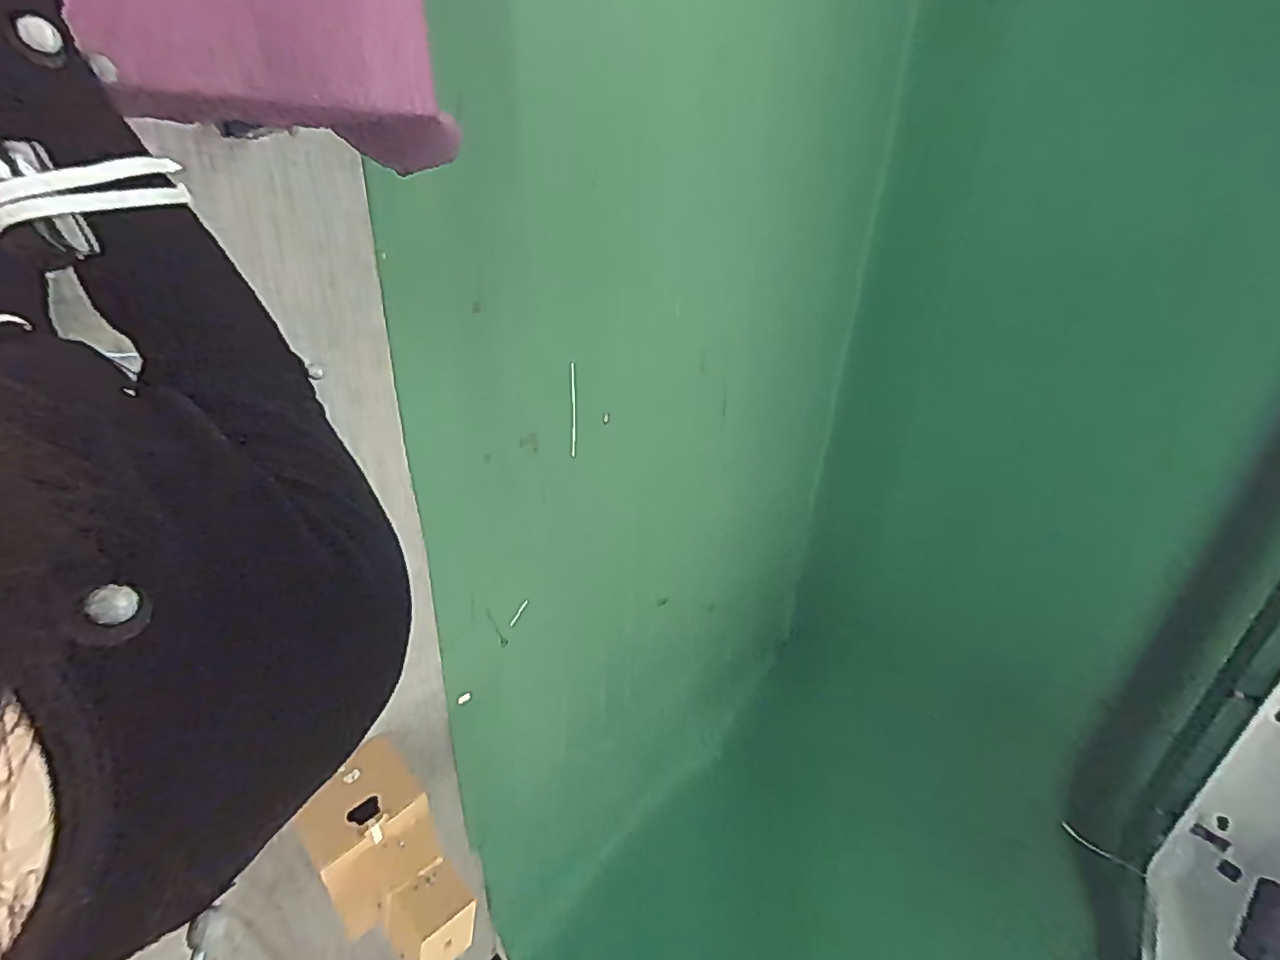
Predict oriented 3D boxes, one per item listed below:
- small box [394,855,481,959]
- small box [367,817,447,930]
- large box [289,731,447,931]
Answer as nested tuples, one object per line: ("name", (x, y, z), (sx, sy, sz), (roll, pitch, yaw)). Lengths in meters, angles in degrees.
("small box", (-0.574, 1.220, 1.524), (0.168, 0.176, 0.179), (-9, 114, -50))
("small box", (-0.698, 1.162, 1.613), (0.168, 0.176, 0.179), (-13, 118, -48))
("large box", (-0.883, 1.133, 1.776), (0.320, 0.320, 0.408), (-26, 128, -42))
